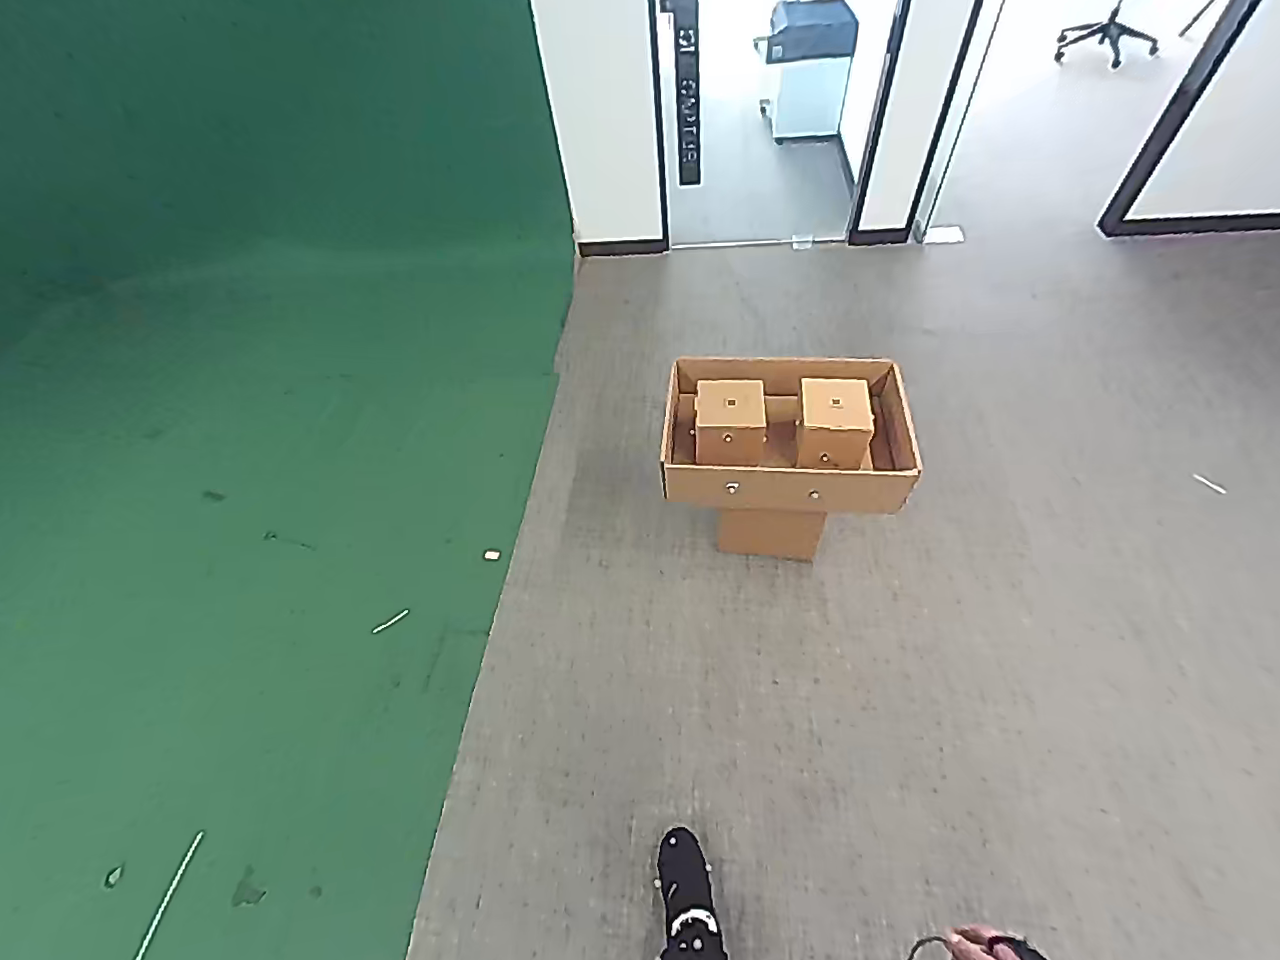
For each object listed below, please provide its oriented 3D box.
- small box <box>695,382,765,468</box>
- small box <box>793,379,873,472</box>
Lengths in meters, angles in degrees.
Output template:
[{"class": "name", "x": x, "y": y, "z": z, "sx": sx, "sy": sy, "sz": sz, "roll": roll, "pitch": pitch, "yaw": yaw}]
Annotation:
[{"class": "small box", "x": 0.239, "y": -0.146, "z": 1.458, "sx": 0.179, "sy": 0.176, "sz": 0.168, "roll": 2, "pitch": 54, "yaw": 7}, {"class": "small box", "x": 0.500, "y": -0.143, "z": 1.426, "sx": 0.168, "sy": 0.176, "sz": 0.179, "roll": 3, "pitch": 54, "yaw": 8}]
